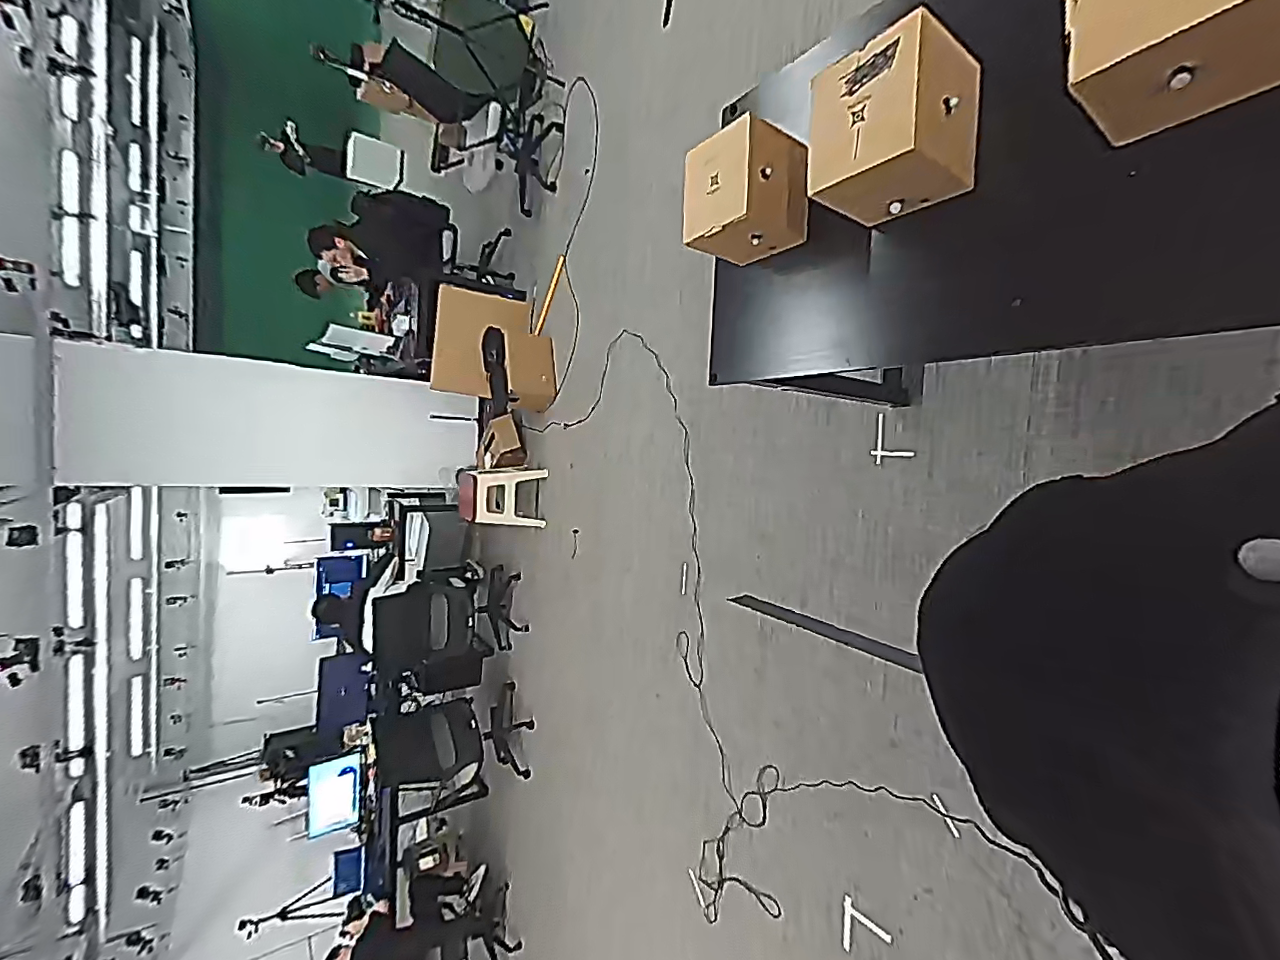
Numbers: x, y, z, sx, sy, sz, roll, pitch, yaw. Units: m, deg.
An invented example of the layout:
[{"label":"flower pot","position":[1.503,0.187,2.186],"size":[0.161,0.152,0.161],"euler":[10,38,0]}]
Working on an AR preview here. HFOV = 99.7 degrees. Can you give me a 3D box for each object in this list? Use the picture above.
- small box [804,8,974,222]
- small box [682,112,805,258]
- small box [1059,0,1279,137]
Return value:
[{"label":"small box","position":[0.362,-0.509,0.788],"size":[0.168,0.176,0.179],"euler":[5,94,54]},{"label":"small box","position":[0.197,-0.537,1.020],"size":[0.168,0.176,0.179],"euler":[3,91,53]},{"label":"small box","position":[0.547,-0.482,0.530],"size":[0.179,0.176,0.168],"euler":[-1,89,55]}]
